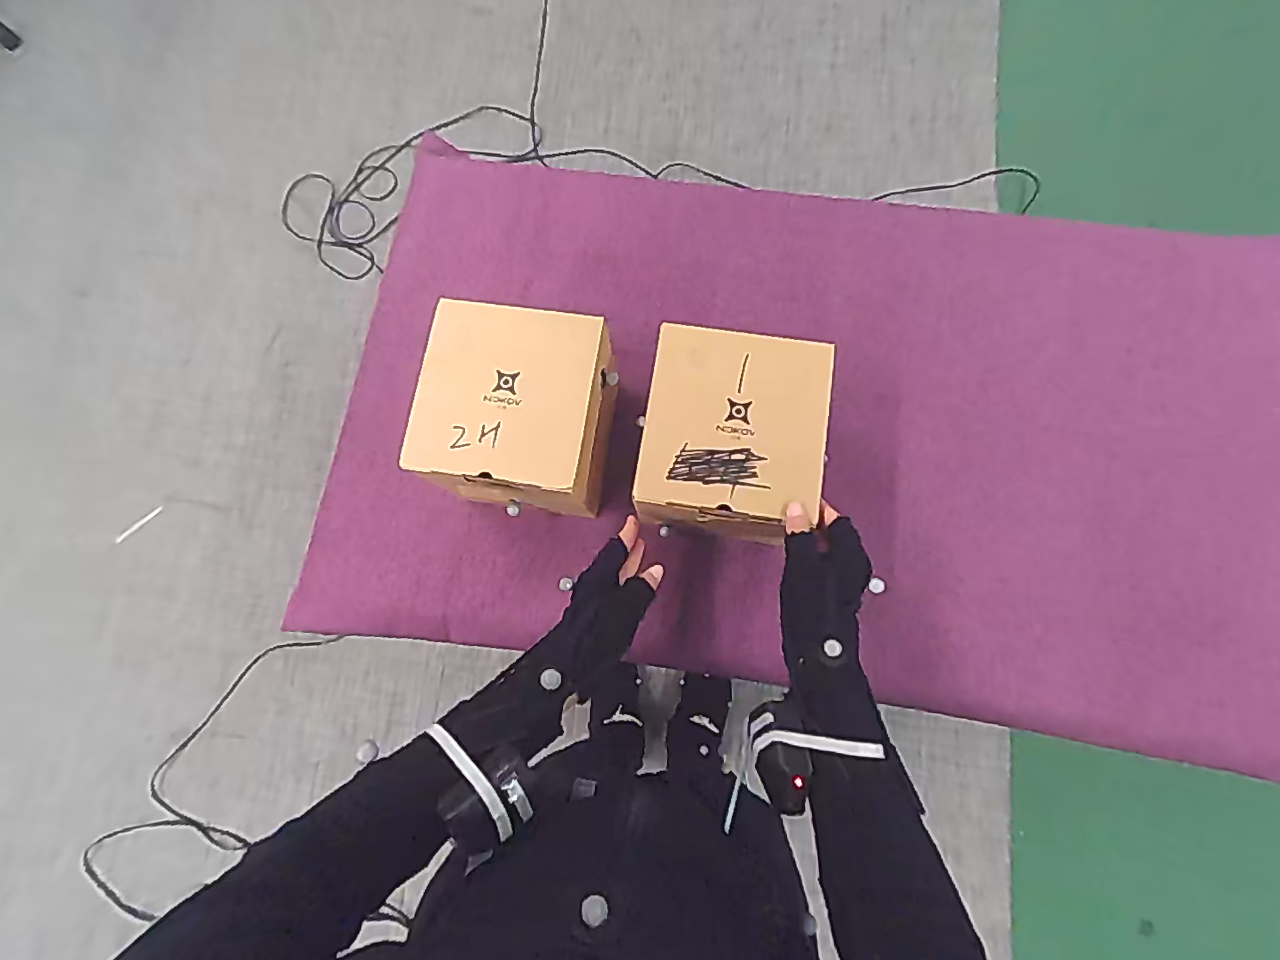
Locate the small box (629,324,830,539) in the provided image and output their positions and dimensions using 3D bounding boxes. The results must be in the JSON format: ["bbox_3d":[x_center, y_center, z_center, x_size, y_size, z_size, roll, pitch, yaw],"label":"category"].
[{"bbox_3d":[0.089,-0.038,0.574,0.168,0.176,0.179,9,78,4],"label":"small box"}]

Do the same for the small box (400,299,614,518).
[{"bbox_3d":[-0.125,-0.067,0.589,0.168,0.176,0.179,9,78,5],"label":"small box"}]
